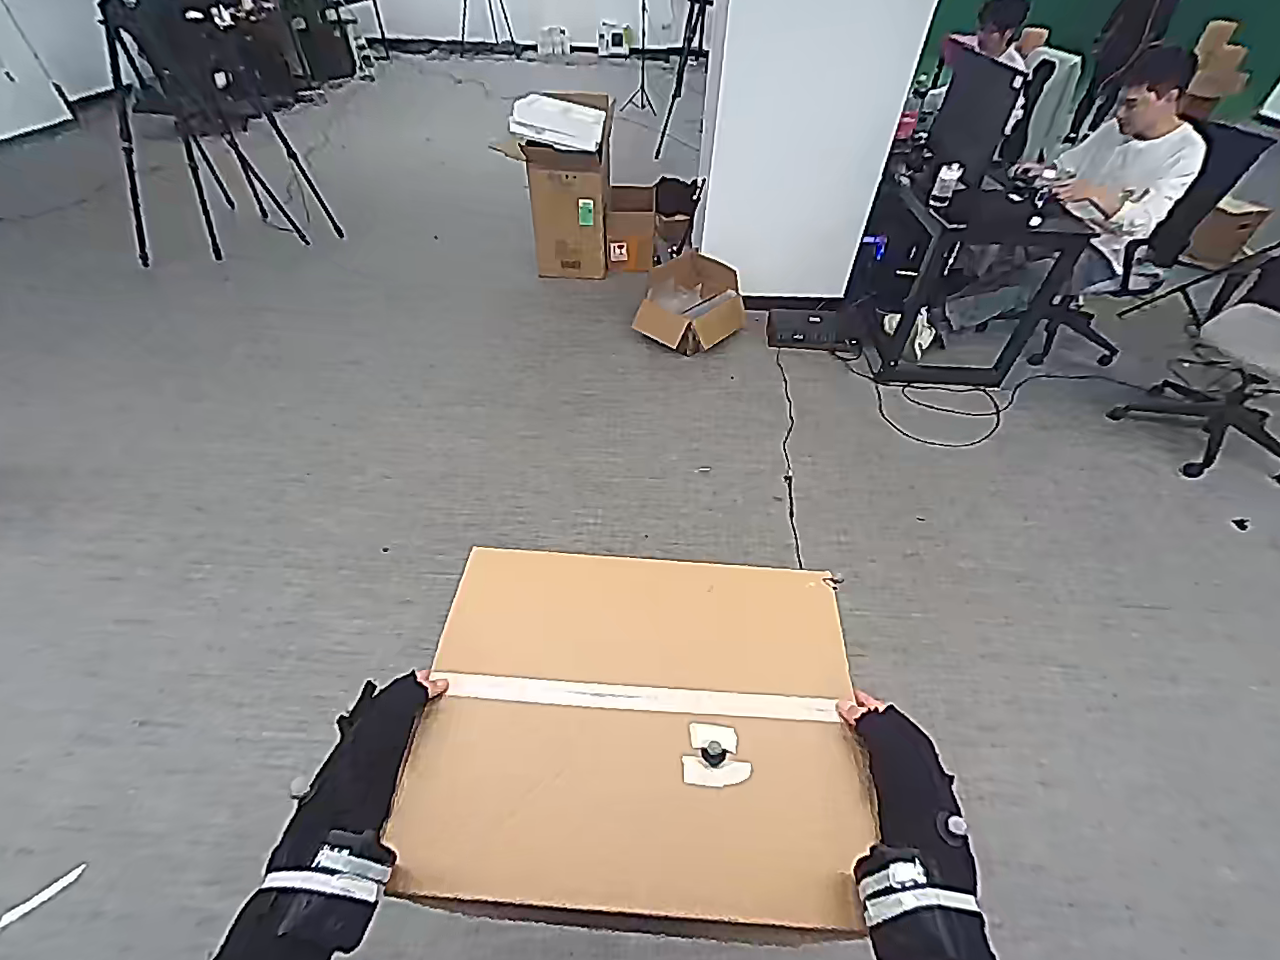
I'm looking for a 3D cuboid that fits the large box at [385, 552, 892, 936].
[{"bbox_3d":[0.000,0.307,0.624,0.408,0.320,0.320,4,48,1],"label":"large box"}]
